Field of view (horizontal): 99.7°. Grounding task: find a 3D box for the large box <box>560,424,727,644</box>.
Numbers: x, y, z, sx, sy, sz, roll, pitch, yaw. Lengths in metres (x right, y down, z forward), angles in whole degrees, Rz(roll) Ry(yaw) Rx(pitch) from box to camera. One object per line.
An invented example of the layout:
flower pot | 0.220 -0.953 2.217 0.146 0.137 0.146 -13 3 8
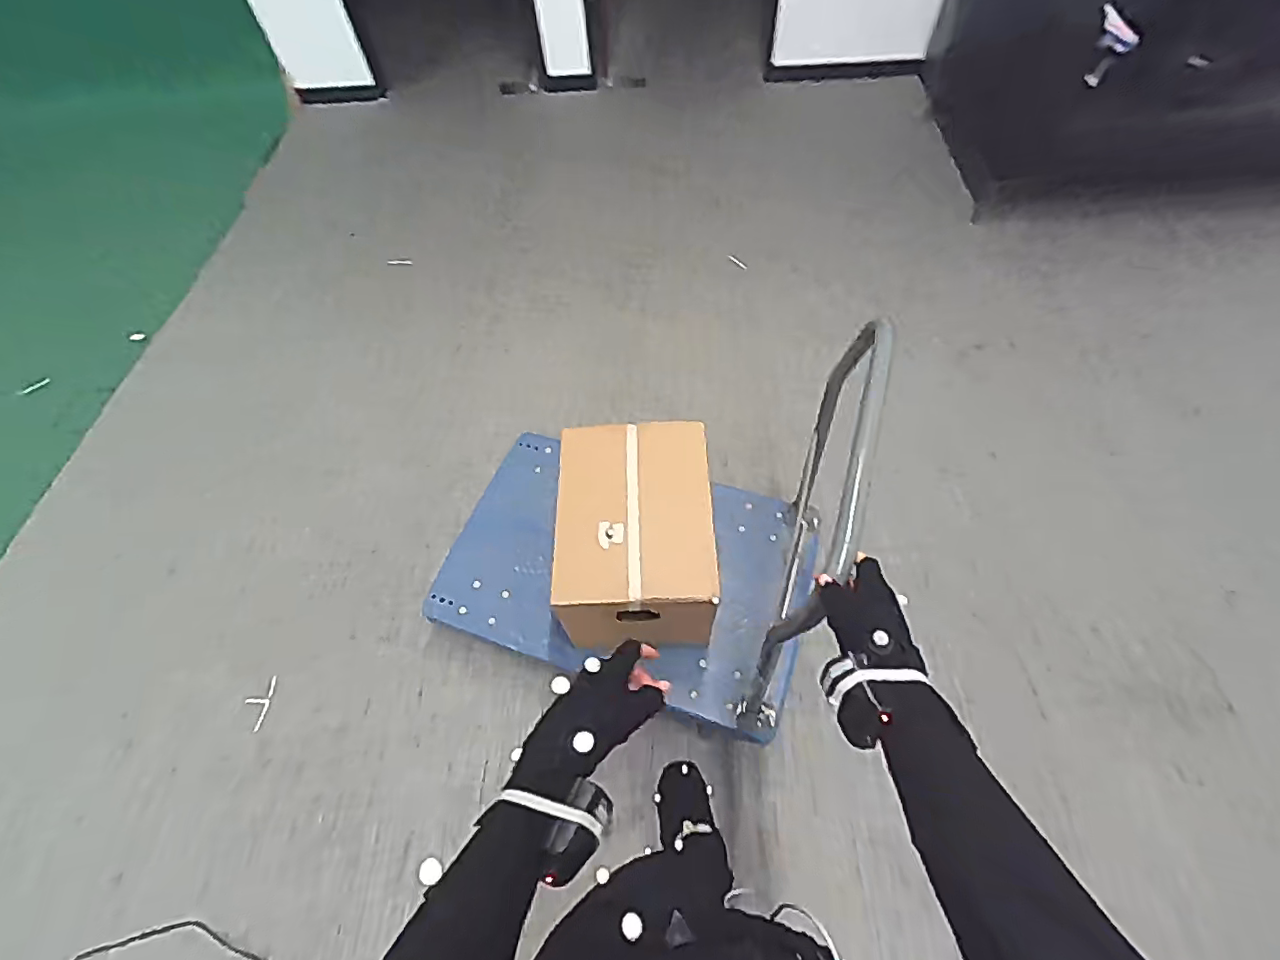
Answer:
large box | 0.005 0.126 1.213 0.320 0.320 0.408 -2 59 2
